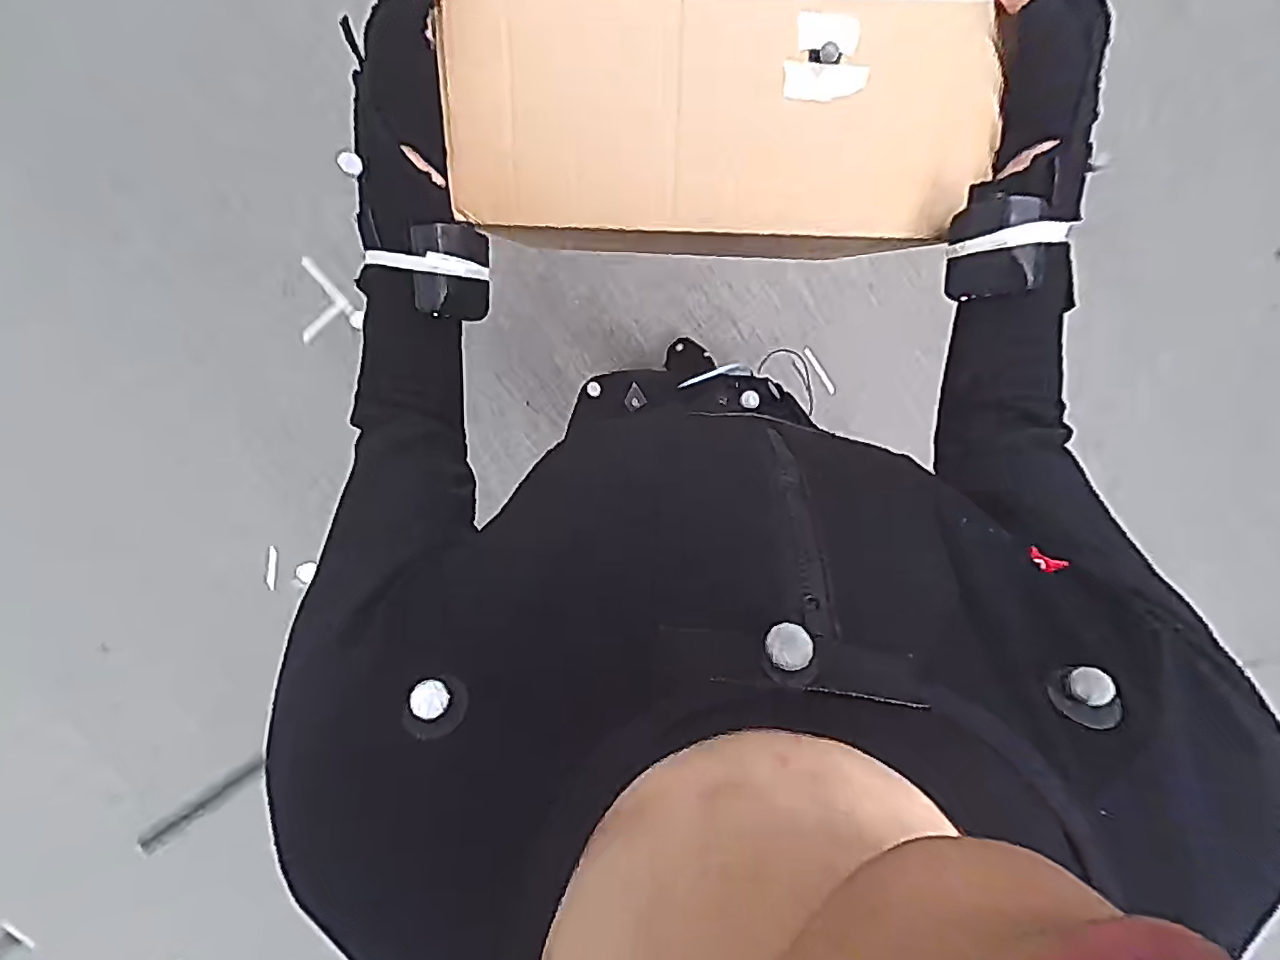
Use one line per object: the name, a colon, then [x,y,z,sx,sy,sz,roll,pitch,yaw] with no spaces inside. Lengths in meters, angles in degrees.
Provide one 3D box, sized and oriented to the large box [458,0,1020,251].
large box: [0.065,-0.398,0.513,0.408,0.320,0.320,2,111,-3]
